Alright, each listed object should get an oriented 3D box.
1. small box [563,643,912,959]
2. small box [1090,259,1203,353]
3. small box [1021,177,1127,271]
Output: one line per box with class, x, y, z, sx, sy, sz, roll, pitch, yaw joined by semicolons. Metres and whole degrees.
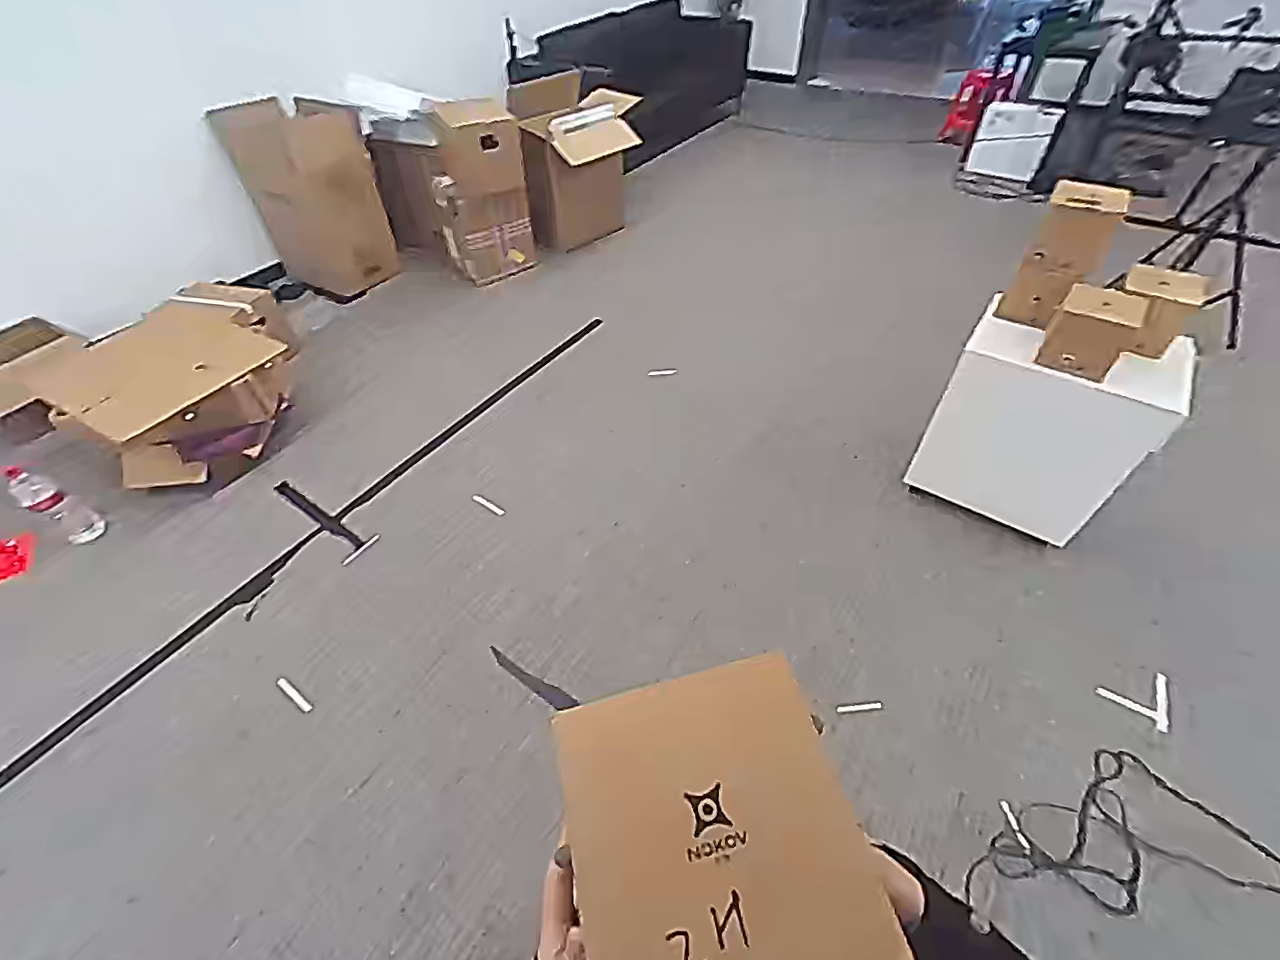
small box;0.048;0.246;0.386;0.168;0.176;0.179;-13;54;-6
small box;1.378;-0.473;1.480;0.168;0.176;0.179;27;55;26
small box;1.167;-0.691;1.463;0.168;0.176;0.179;25;54;23
